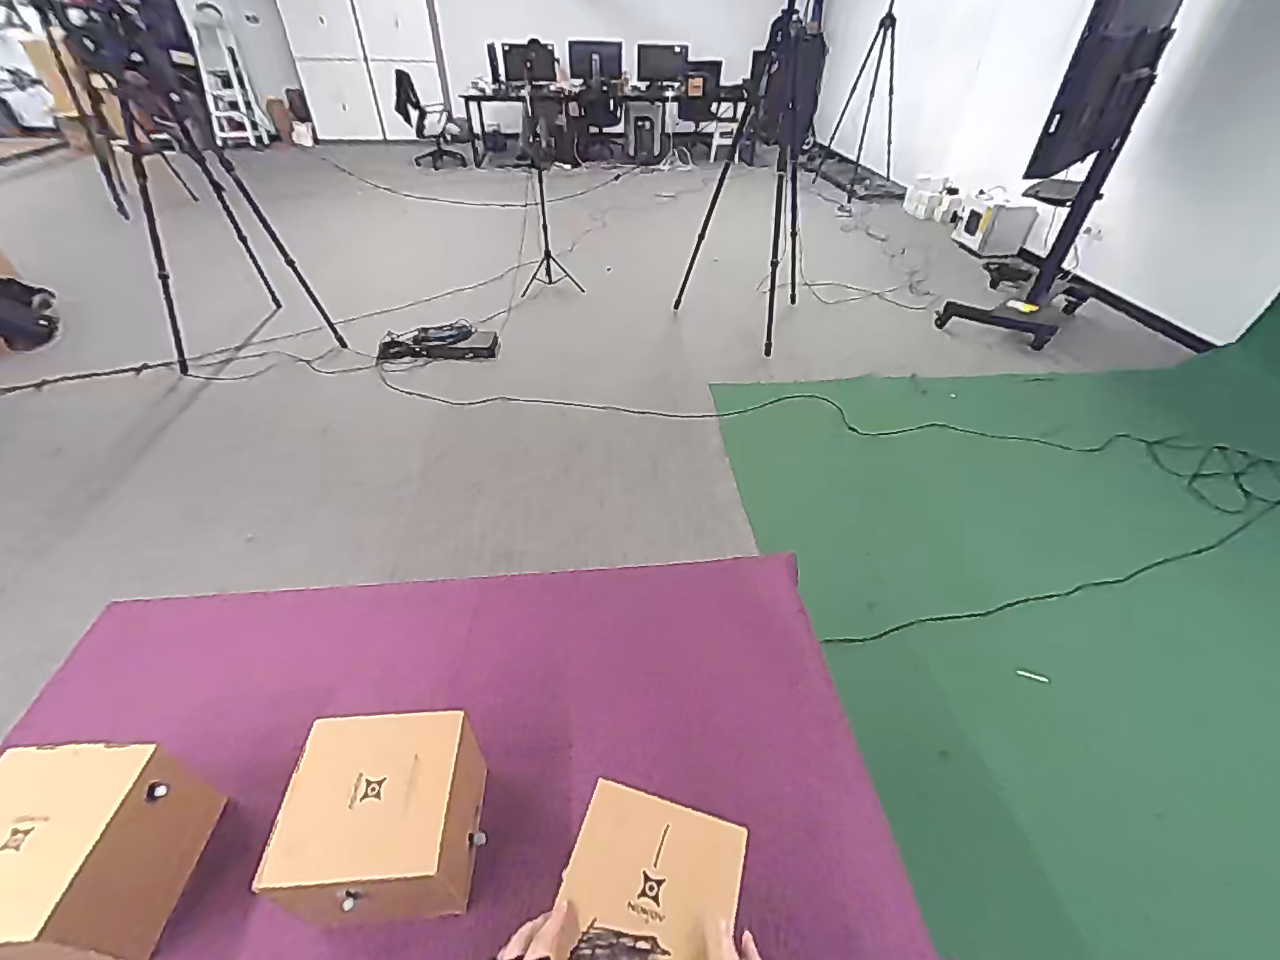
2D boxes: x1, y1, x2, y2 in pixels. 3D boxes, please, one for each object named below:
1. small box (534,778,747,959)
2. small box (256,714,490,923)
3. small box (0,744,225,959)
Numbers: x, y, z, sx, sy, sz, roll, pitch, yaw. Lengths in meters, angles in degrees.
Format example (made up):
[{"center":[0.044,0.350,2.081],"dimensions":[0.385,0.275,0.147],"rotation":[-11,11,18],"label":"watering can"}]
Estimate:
[{"center":[0.007,0.455,0.561],"dimensions":[0.168,0.176,0.179],"rotation":[12,41,13],"label":"small box"},{"center":[-0.288,0.396,0.633],"dimensions":[0.179,0.176,0.168],"rotation":[-1,41,-3],"label":"small box"},{"center":[-0.620,0.421,0.603],"dimensions":[0.168,0.176,0.179],"rotation":[-1,40,-1],"label":"small box"}]
